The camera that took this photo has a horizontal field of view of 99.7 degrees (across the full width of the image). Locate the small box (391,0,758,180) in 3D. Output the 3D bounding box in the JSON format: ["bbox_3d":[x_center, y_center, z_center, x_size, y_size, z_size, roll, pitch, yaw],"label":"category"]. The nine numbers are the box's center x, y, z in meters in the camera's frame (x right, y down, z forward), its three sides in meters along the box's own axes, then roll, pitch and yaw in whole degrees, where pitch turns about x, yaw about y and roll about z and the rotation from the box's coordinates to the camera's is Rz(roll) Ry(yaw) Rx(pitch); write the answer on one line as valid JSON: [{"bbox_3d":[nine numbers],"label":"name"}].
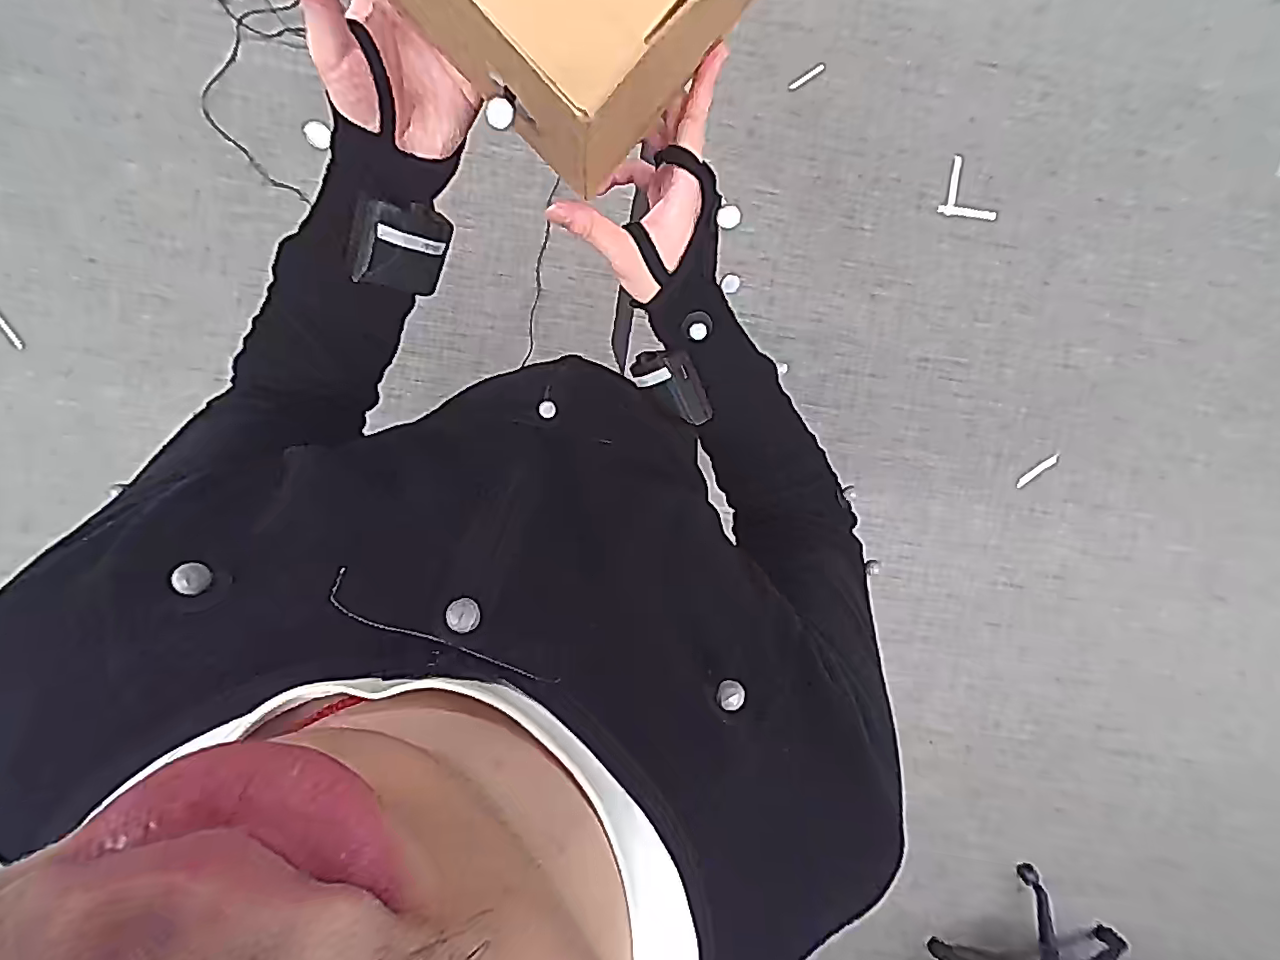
[{"bbox_3d":[-0.031,-0.263,0.234,0.179,0.176,0.168,40,99,-16],"label":"small box"}]
